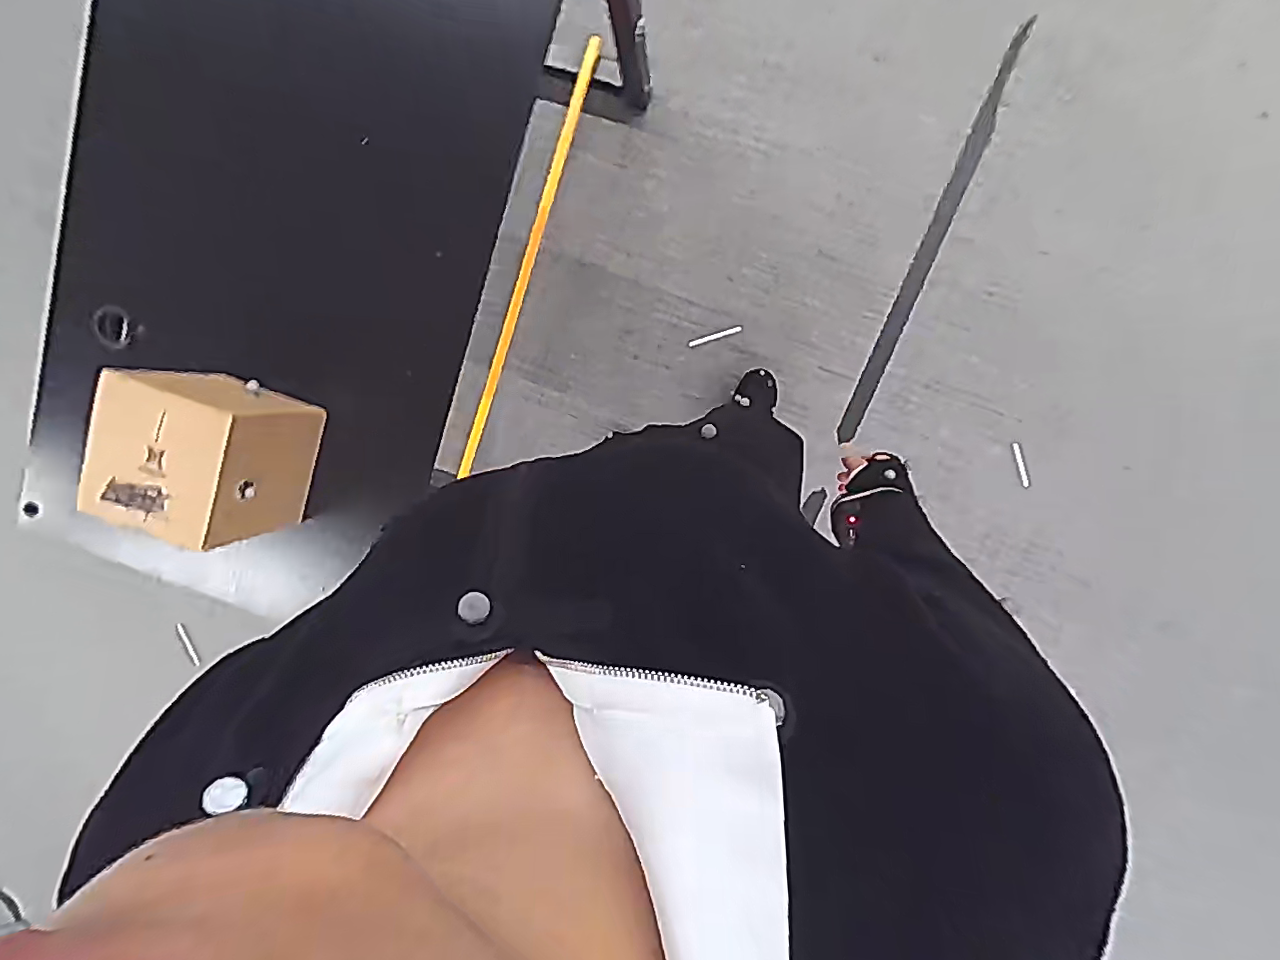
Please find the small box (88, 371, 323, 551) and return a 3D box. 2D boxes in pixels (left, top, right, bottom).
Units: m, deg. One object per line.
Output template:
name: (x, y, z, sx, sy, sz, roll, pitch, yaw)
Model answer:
small box: (-0.559, -0.031, 0.717, 0.168, 0.176, 0.179, 19, 99, 2)
